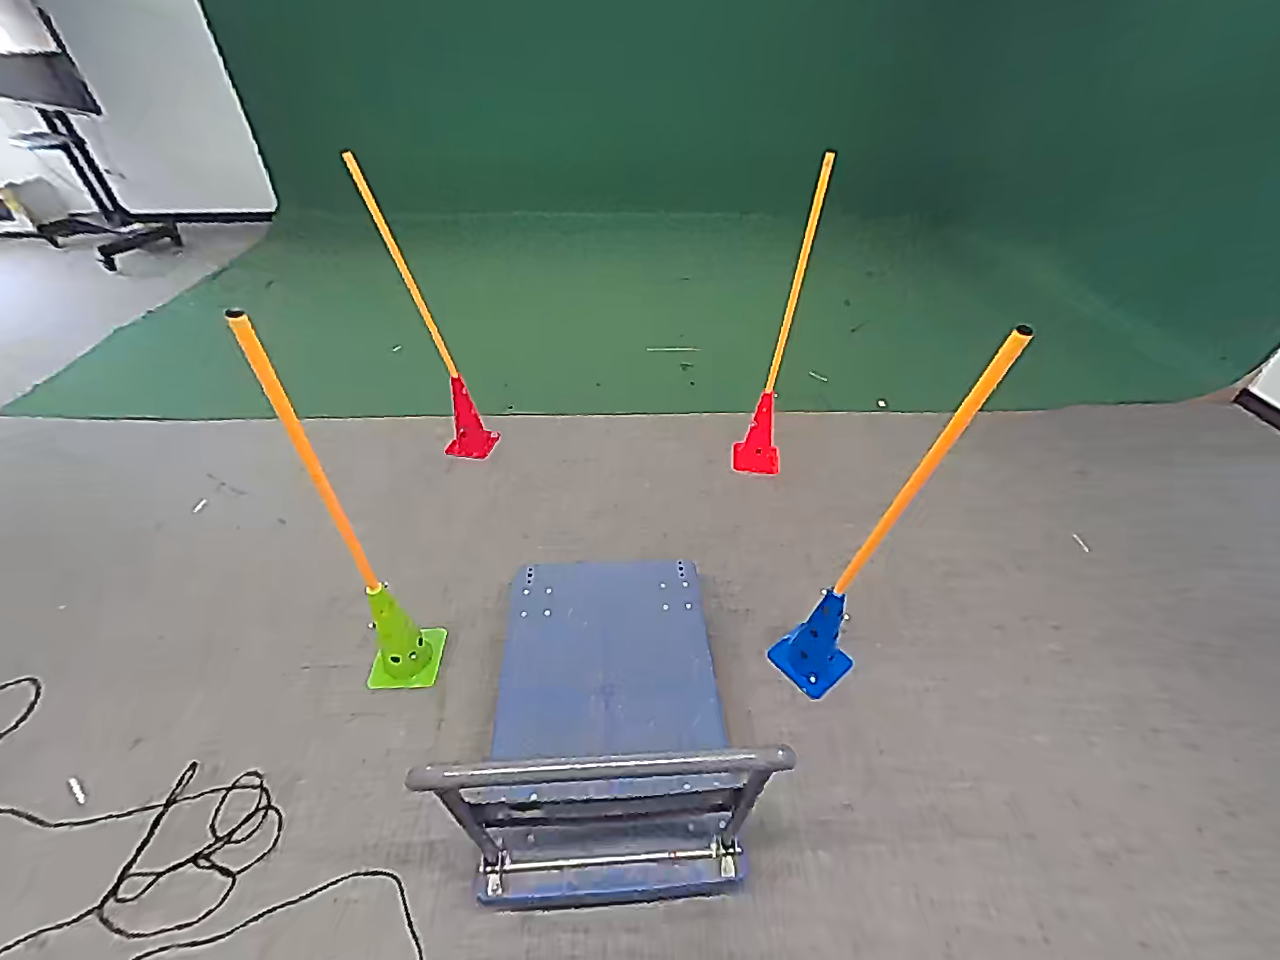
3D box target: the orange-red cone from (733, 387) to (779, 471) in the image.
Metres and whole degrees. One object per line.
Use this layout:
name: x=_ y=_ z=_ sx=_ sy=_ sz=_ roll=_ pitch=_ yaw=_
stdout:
orange-red cone: x=0.516 y=-0.234 z=2.295 sx=0.198 sy=0.360 sz=0.199 roll=6 pitch=43 yaw=8
